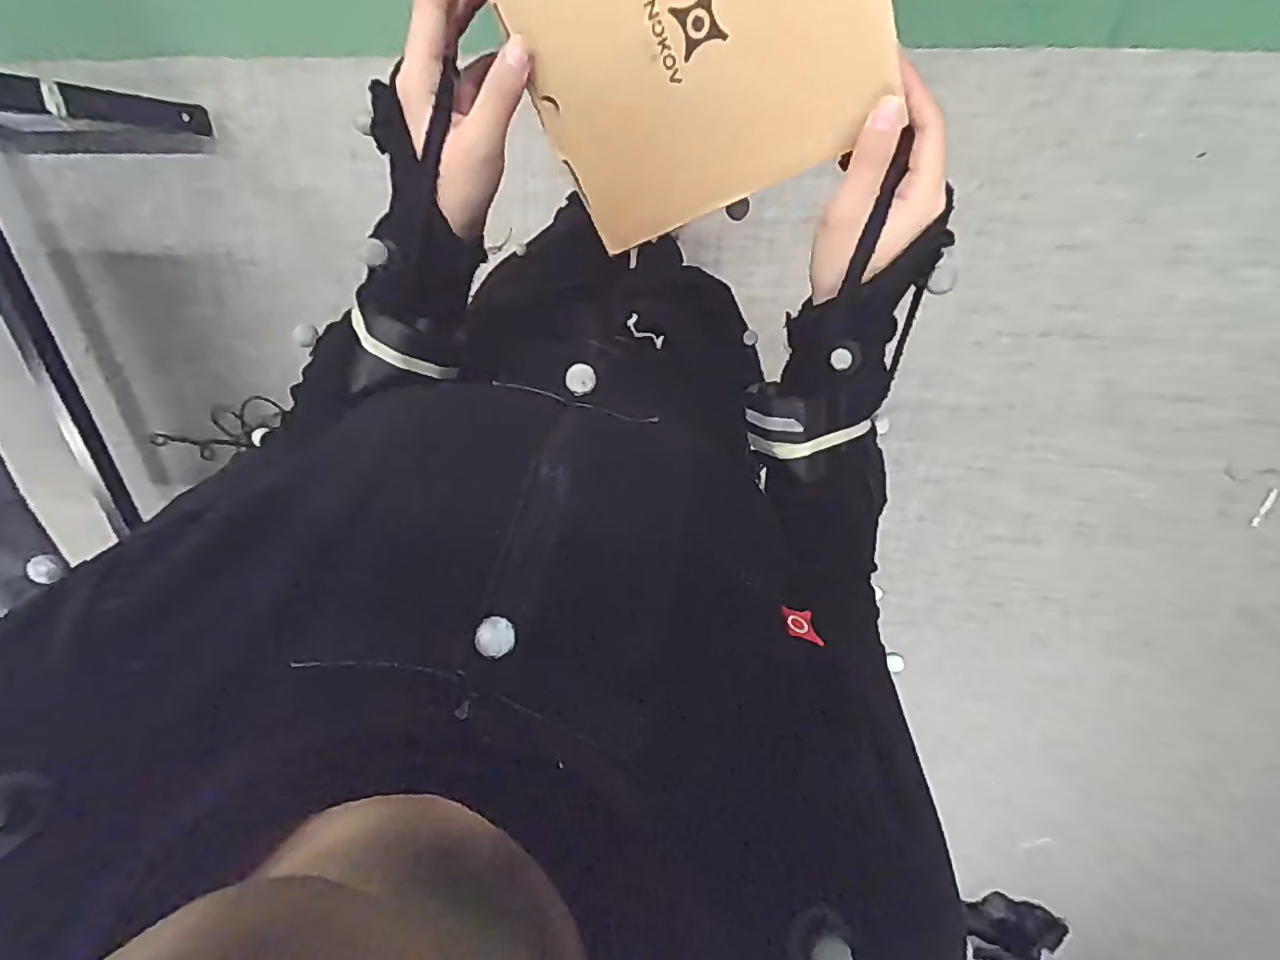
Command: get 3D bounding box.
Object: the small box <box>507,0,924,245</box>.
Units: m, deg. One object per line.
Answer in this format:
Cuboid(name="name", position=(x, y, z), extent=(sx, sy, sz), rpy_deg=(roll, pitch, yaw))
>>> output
Cuboid(name="small box", position=(0.044, -0.273, 0.316), extent=(0.179, 0.176, 0.168), rpy_deg=(-14, 125, 24))
